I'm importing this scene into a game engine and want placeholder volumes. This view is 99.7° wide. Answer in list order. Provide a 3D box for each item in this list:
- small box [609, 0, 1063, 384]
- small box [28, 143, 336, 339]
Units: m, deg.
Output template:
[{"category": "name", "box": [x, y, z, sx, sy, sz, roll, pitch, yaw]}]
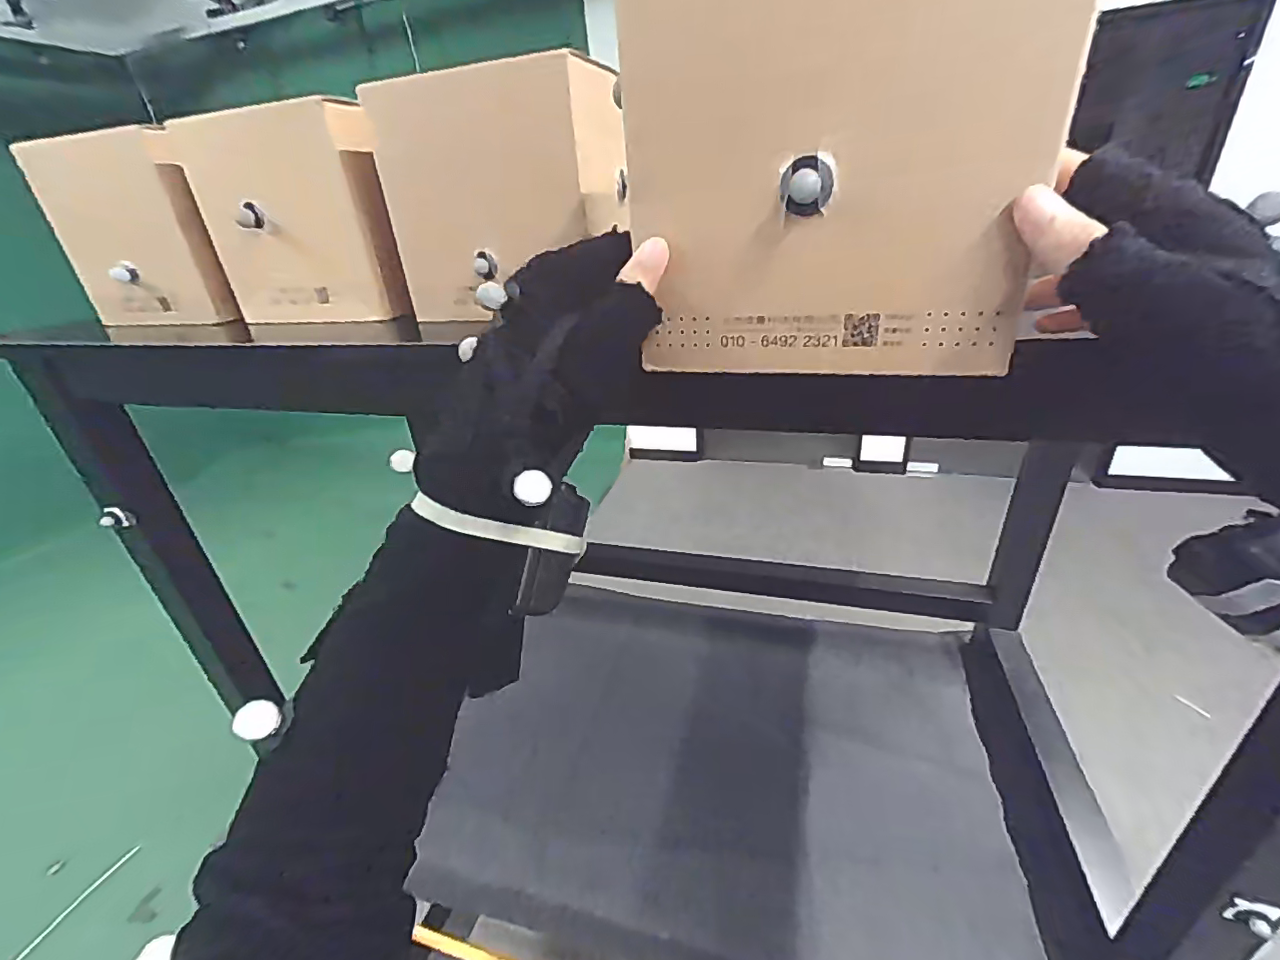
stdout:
[{"category": "small box", "box": [0.096, -0.157, 0.294, 0.168, 0.176, 0.179, 5, 29, 17]}, {"category": "small box", "box": [-0.470, -0.259, 0.593, 0.168, 0.176, 0.179, 3, 29, 16]}]
